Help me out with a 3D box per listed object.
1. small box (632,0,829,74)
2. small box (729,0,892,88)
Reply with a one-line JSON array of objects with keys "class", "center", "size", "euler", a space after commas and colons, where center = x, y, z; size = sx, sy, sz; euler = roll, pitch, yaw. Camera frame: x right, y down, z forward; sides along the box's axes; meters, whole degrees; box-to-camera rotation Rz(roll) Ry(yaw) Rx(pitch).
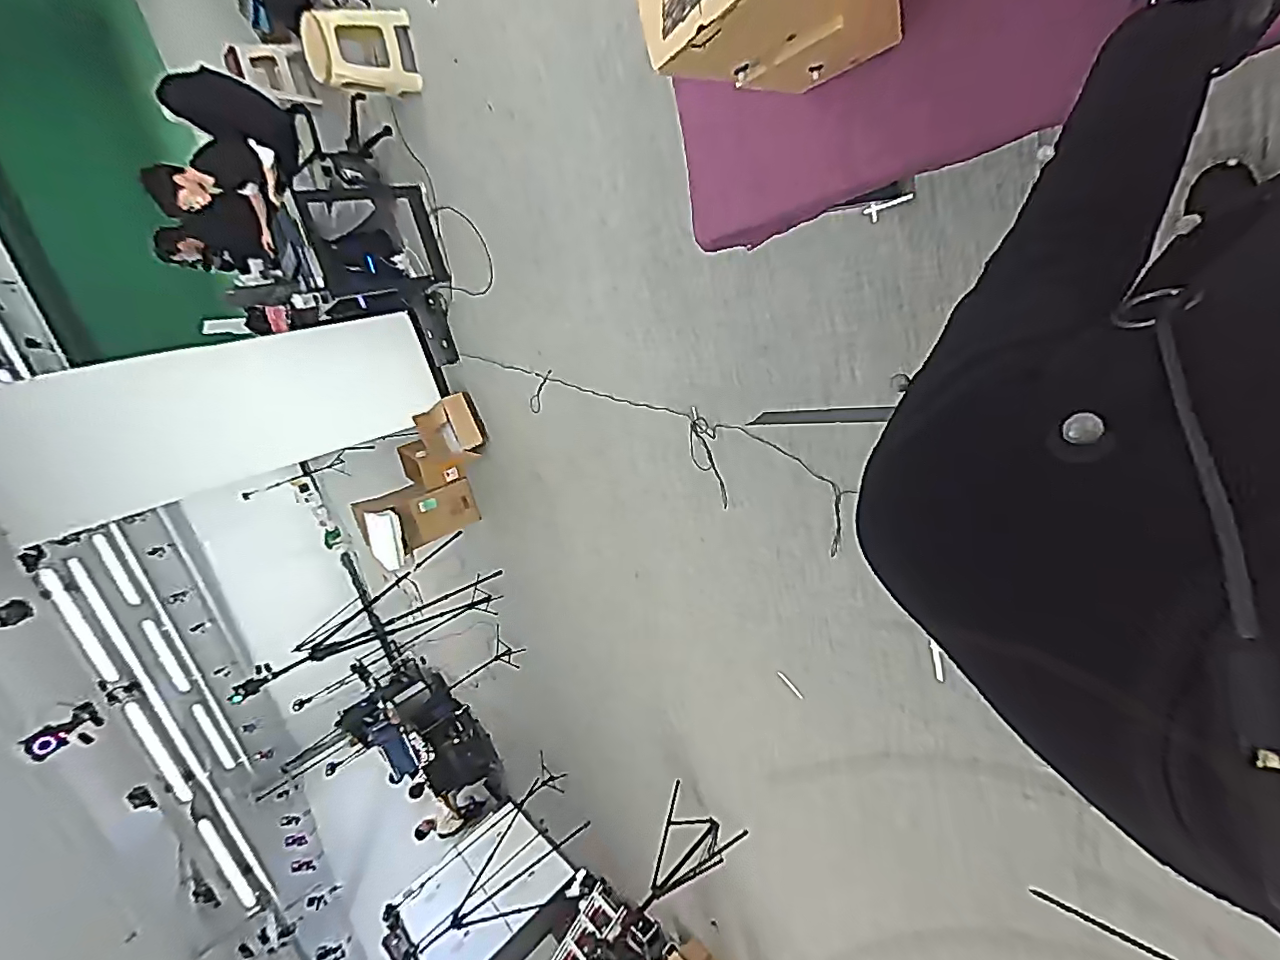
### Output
[{"class": "small box", "center": [0.100, -0.611, 0.632], "size": [0.168, 0.176, 0.179], "euler": [2, 113, 50]}, {"class": "small box", "center": [0.223, -0.661, 0.729], "size": [0.168, 0.176, 0.179], "euler": [8, 118, 47]}]
